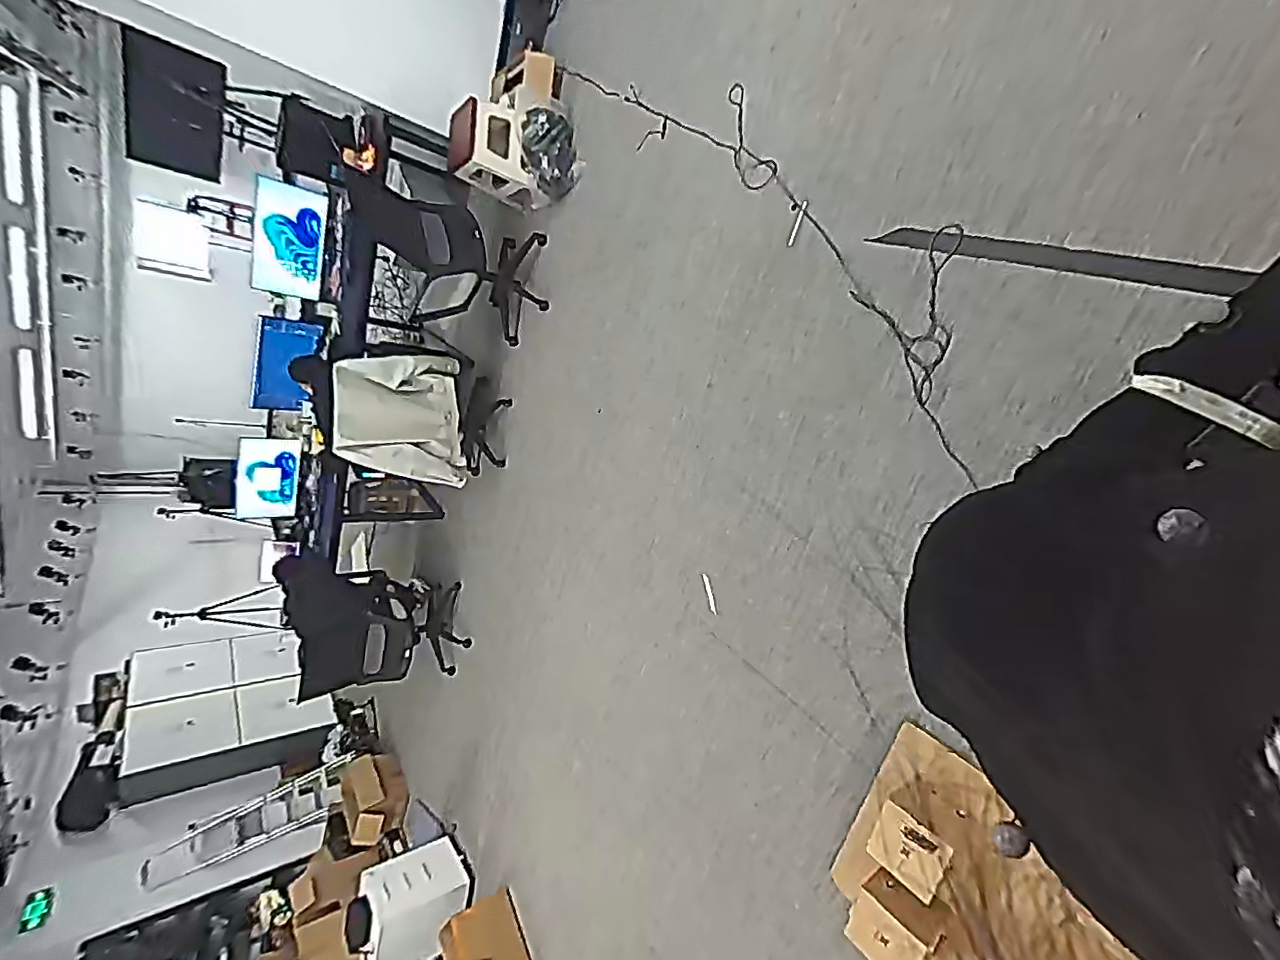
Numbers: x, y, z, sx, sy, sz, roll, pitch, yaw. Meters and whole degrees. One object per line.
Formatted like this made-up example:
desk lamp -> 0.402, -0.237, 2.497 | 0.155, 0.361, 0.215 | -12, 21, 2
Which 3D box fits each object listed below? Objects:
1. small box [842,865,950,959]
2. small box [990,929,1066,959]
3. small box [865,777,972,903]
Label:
small box -> 0.669, 1.152, 1.415 | 0.179, 0.176, 0.168 | 26, 110, 45
small box -> 0.868, 1.141, 1.184 | 0.179, 0.176, 0.168 | 37, 116, 41
small box -> 0.709, 0.899, 1.369 | 0.168, 0.176, 0.179 | 28, 111, 45
